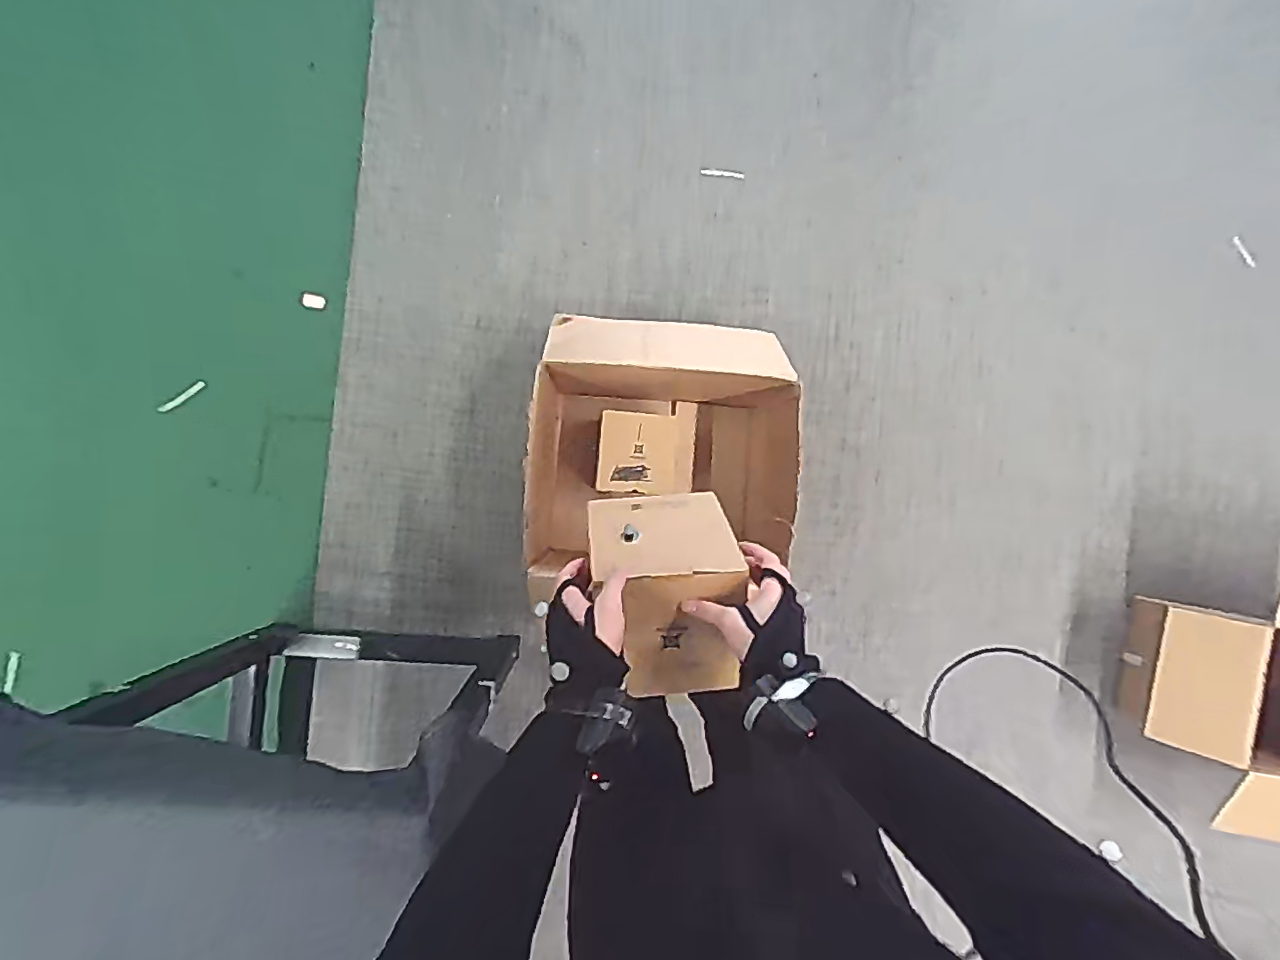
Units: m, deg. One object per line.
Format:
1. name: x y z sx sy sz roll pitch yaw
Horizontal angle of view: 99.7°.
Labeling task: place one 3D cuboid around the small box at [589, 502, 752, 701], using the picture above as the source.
1. small box: 0.024 0.134 0.652 0.168 0.176 0.179 -2 117 -5
